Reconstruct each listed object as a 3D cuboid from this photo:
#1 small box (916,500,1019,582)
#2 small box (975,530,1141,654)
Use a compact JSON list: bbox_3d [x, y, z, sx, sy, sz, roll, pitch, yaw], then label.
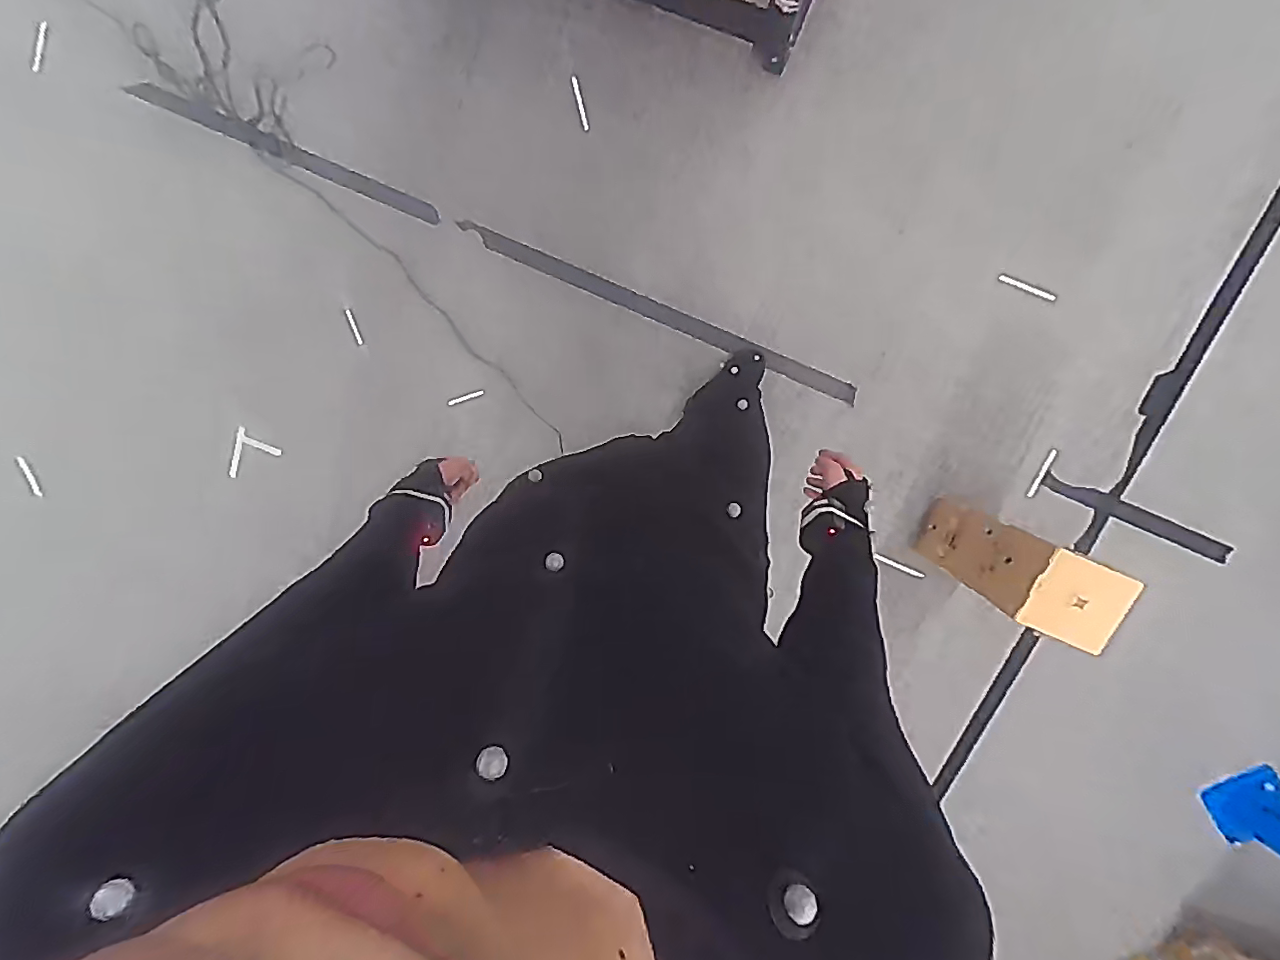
[{"bbox_3d":[0.878,0.166,1.439,0.179,0.176,0.168,20,102,4],"label":"small box"},{"bbox_3d":[0.847,0.221,1.118,0.179,0.176,0.168,23,103,3],"label":"small box"}]
